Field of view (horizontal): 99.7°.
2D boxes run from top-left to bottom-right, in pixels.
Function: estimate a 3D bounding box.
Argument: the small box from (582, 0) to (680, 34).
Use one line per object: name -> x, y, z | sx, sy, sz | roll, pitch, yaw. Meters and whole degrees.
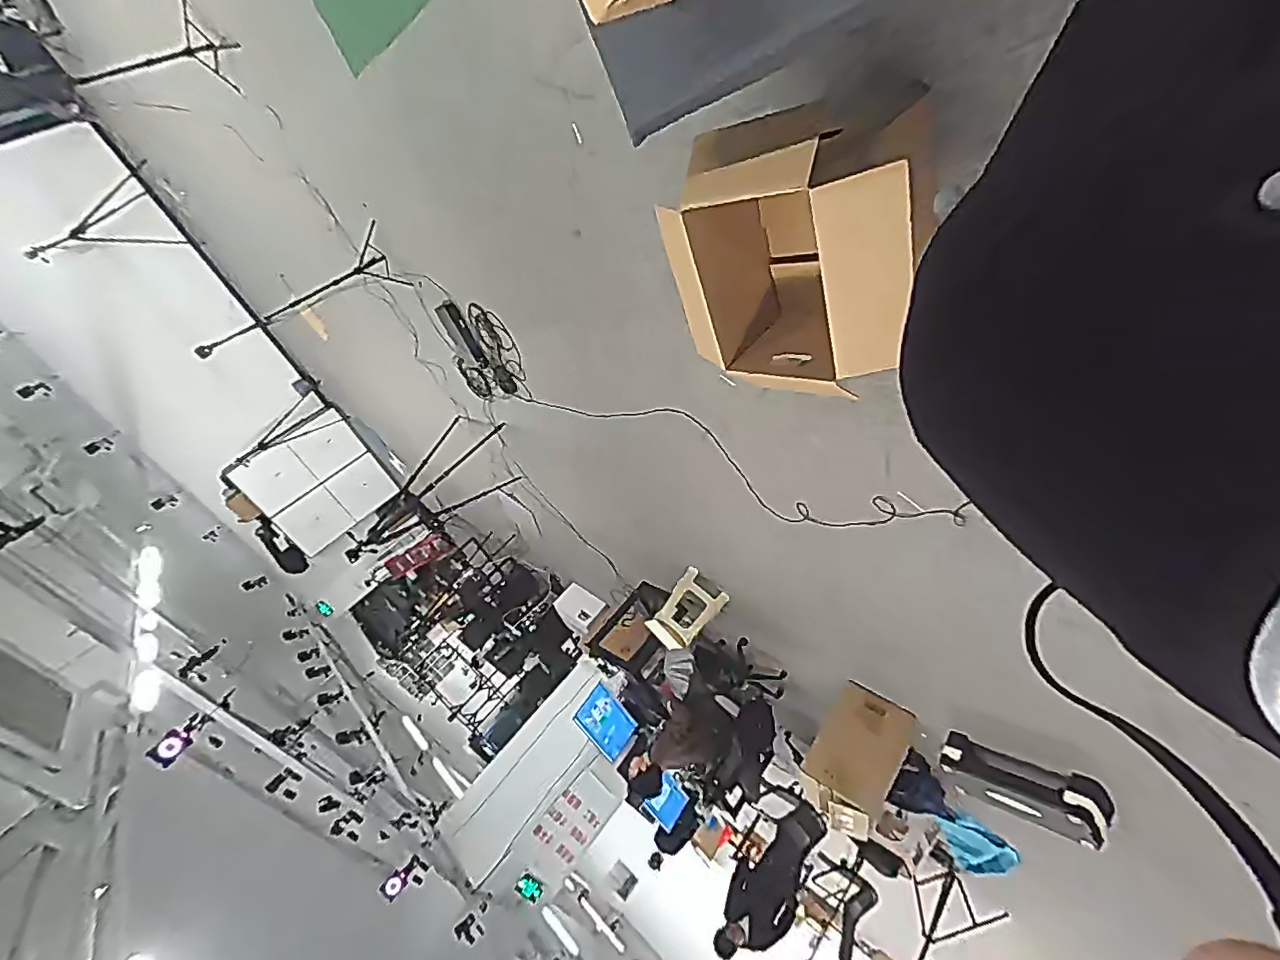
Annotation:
small box -> 0.007, -0.704, 0.658 | 0.168, 0.176, 0.179 | 1, 127, 53
